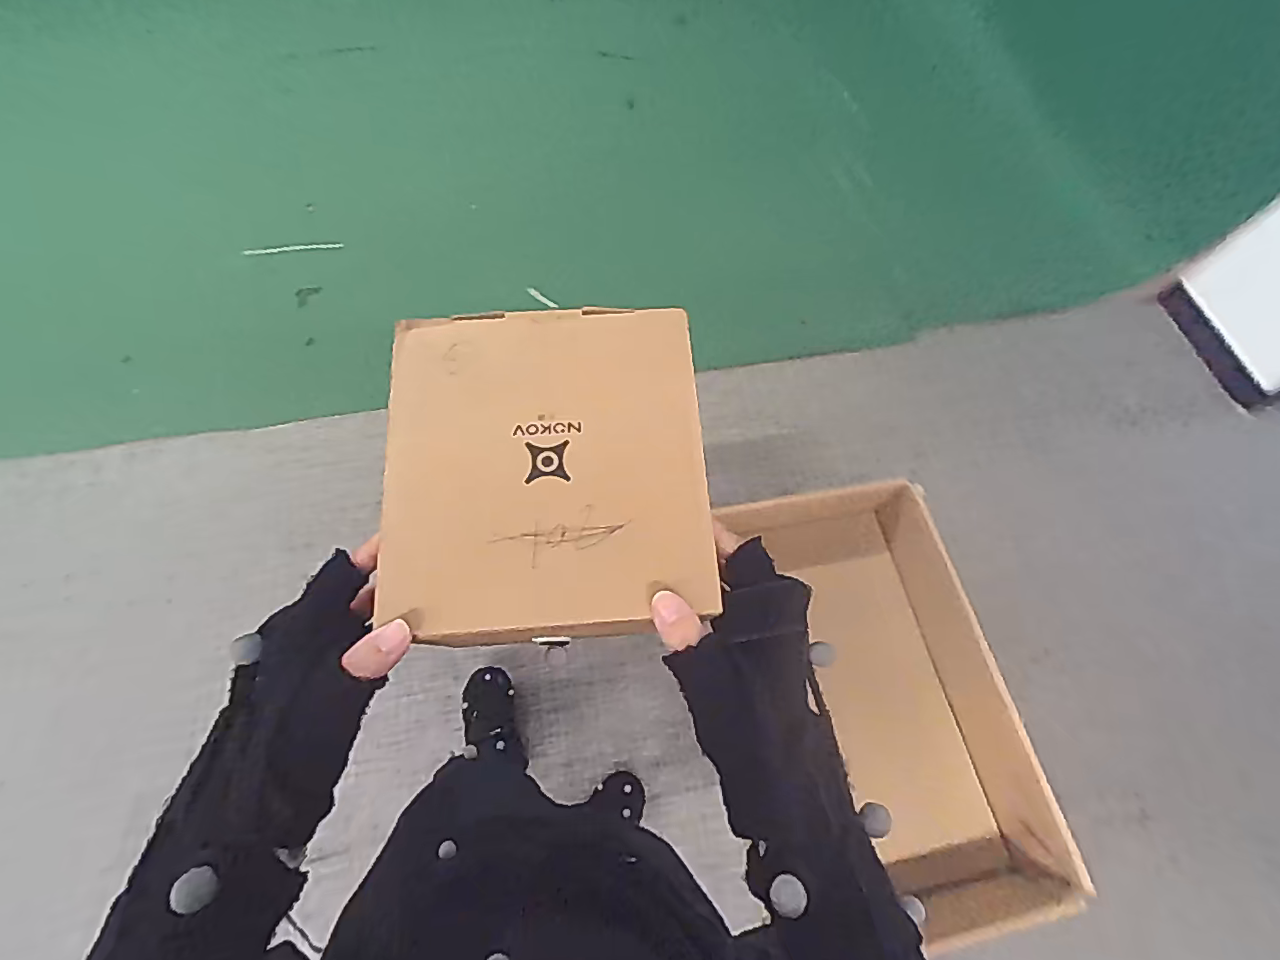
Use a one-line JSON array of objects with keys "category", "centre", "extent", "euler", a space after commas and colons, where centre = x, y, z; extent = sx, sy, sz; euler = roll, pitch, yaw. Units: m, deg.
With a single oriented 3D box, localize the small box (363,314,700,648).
[{"category": "small box", "centre": [-0.061, 0.014, 0.364], "extent": [0.168, 0.176, 0.179], "euler": [-5, 72, -4]}]
